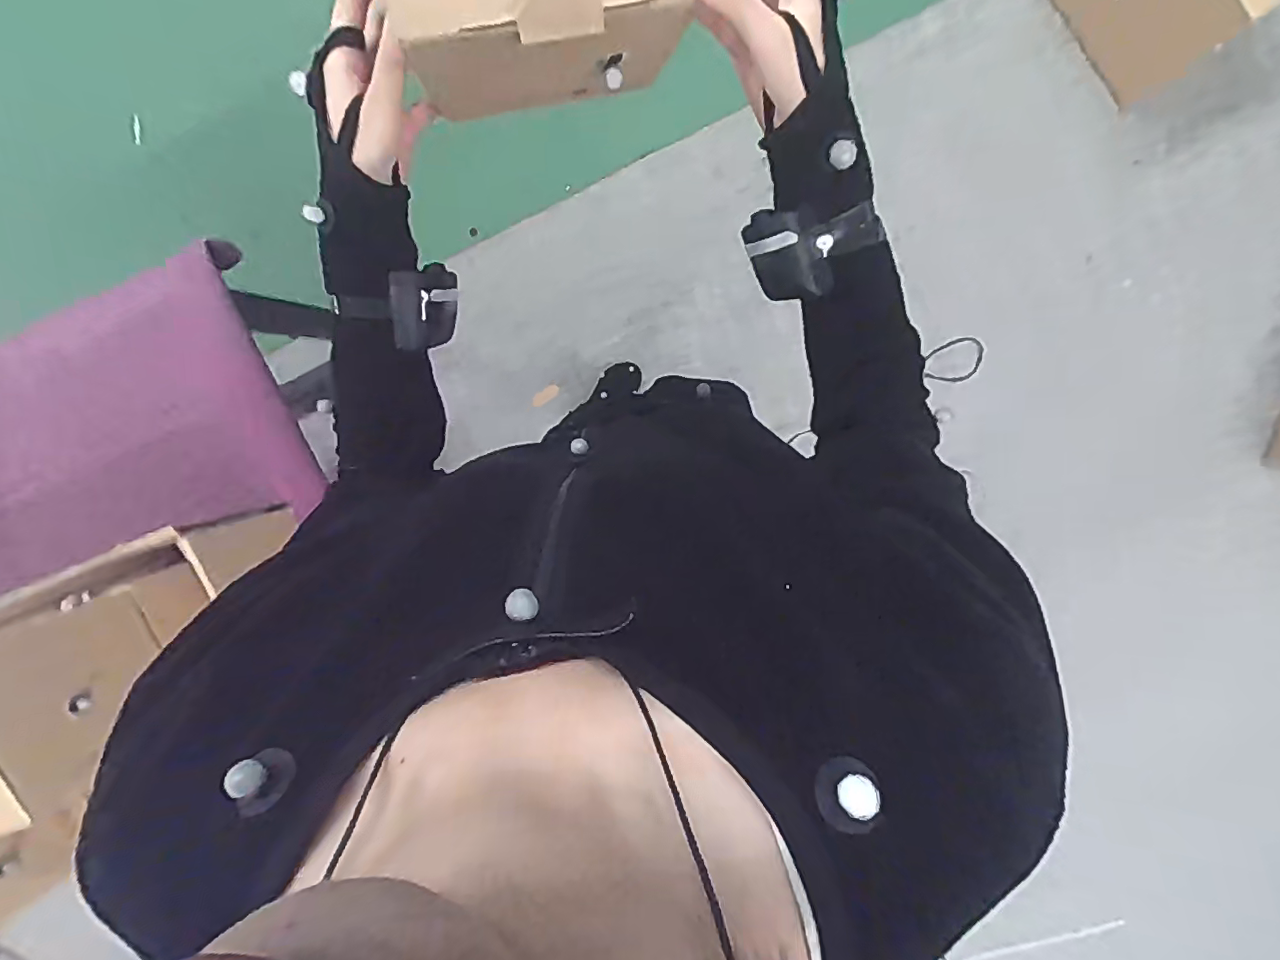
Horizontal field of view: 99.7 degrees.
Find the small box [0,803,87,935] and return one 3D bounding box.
[{"bbox_3d":[-0.818,0.457,0.633,0.179,0.176,0.168,-20,97,7],"label":"small box"}]

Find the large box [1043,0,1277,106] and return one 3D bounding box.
[{"bbox_3d":[1.093,-1.080,1.071,0.320,0.320,0.408,-37,92,10],"label":"large box"}]

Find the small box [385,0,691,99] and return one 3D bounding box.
[{"bbox_3d":[-0.068,-0.345,0.311,0.168,0.176,0.179,-13,113,-6],"label":"small box"}]

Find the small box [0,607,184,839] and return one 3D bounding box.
[{"bbox_3d":[-0.658,0.254,0.577,0.168,0.176,0.179,-19,99,10],"label":"small box"}]
